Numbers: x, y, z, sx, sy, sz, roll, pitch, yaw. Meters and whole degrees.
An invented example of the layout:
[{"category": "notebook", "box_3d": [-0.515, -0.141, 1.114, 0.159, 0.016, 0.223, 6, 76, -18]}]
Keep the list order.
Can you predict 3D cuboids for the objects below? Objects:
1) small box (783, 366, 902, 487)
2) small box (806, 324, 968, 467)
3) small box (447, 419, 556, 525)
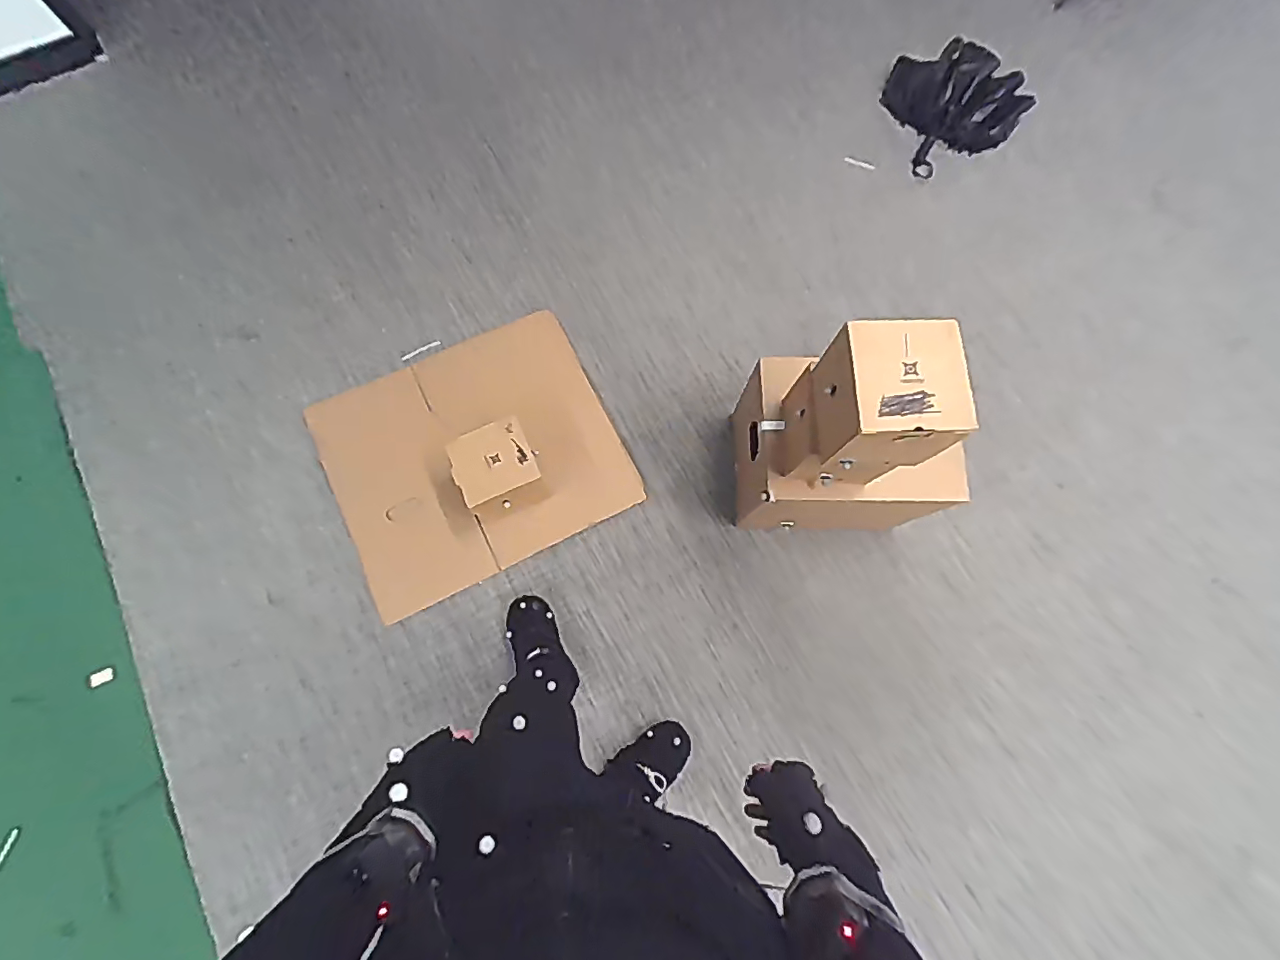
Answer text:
[{"category": "small box", "box_3d": [0.369, -0.094, 1.014, 0.168, 0.176, 0.179, 3, 77, 1]}, {"category": "small box", "box_3d": [0.375, -0.122, 0.852, 0.168, 0.176, 0.179, -4, 76, -1]}, {"category": "small box", "box_3d": [-0.322, -0.012, 1.285, 0.179, 0.176, 0.168, -27, 74, -6]}]
